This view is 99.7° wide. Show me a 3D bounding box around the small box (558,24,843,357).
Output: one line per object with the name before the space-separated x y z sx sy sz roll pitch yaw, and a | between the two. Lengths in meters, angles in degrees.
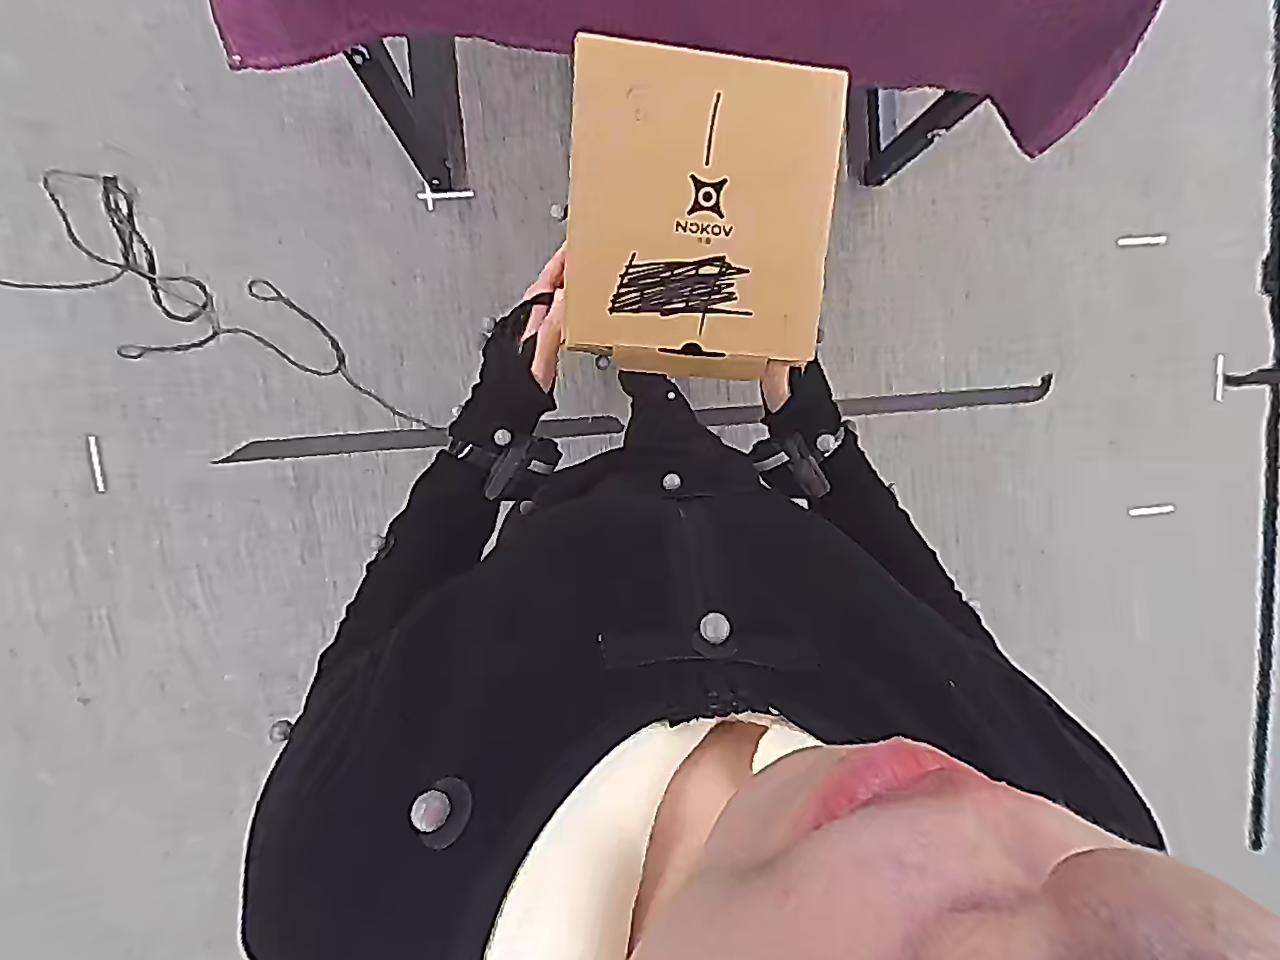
small box | 0.028 -0.188 0.412 0.168 0.176 0.179 2 101 -7
